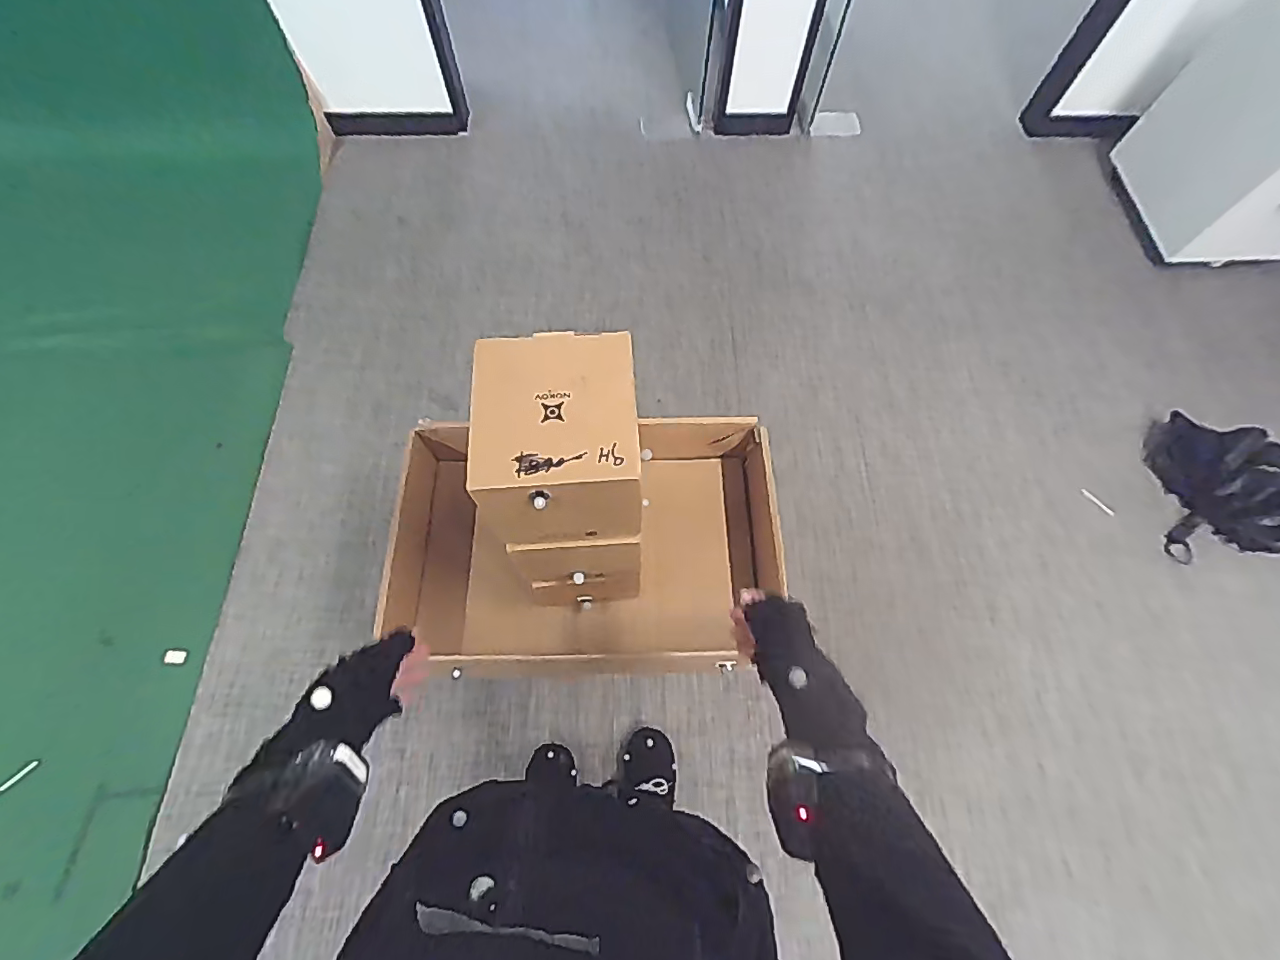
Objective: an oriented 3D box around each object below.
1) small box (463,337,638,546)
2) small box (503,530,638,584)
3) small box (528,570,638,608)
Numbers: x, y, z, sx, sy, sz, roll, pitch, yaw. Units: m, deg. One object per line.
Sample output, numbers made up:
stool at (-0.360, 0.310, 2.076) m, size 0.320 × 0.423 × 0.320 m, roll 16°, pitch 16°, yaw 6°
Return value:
small box at (-0.089, -0.037, 0.616) m, size 0.168 × 0.176 × 0.179 m, roll -4°, pitch 65°, yaw -1°
small box at (-0.090, 0.038, 0.761) m, size 0.168 × 0.176 × 0.179 m, roll -3°, pitch 66°, yaw -1°
small box at (-0.093, 0.108, 0.910) m, size 0.168 × 0.176 × 0.179 m, roll -5°, pitch 67°, yaw -3°
